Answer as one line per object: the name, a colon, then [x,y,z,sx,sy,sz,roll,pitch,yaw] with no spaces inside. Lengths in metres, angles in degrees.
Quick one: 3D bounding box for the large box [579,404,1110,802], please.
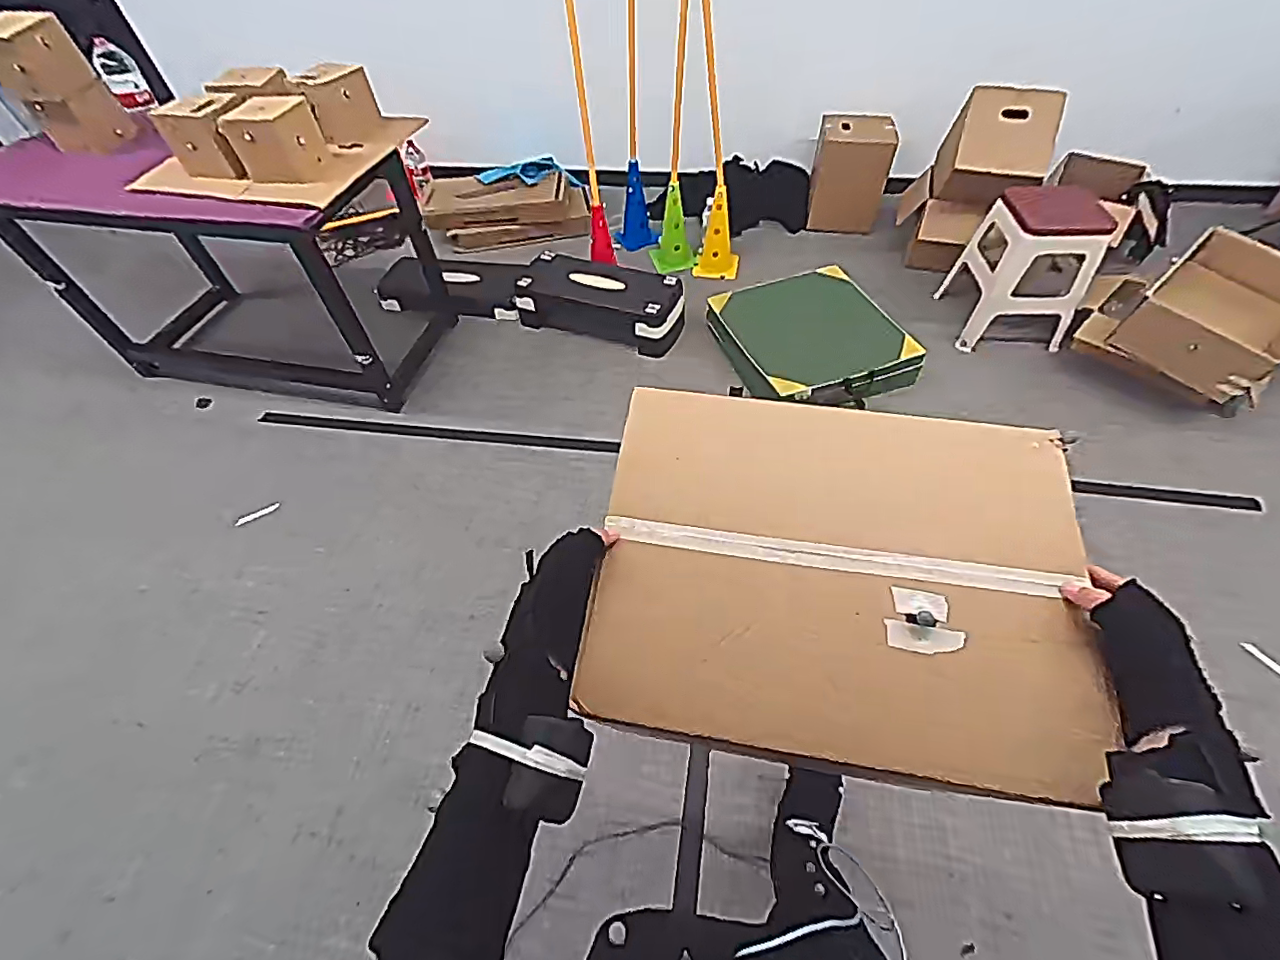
large box: [0.171,0.143,0.607,0.408,0.320,0.320,7,64,6]
